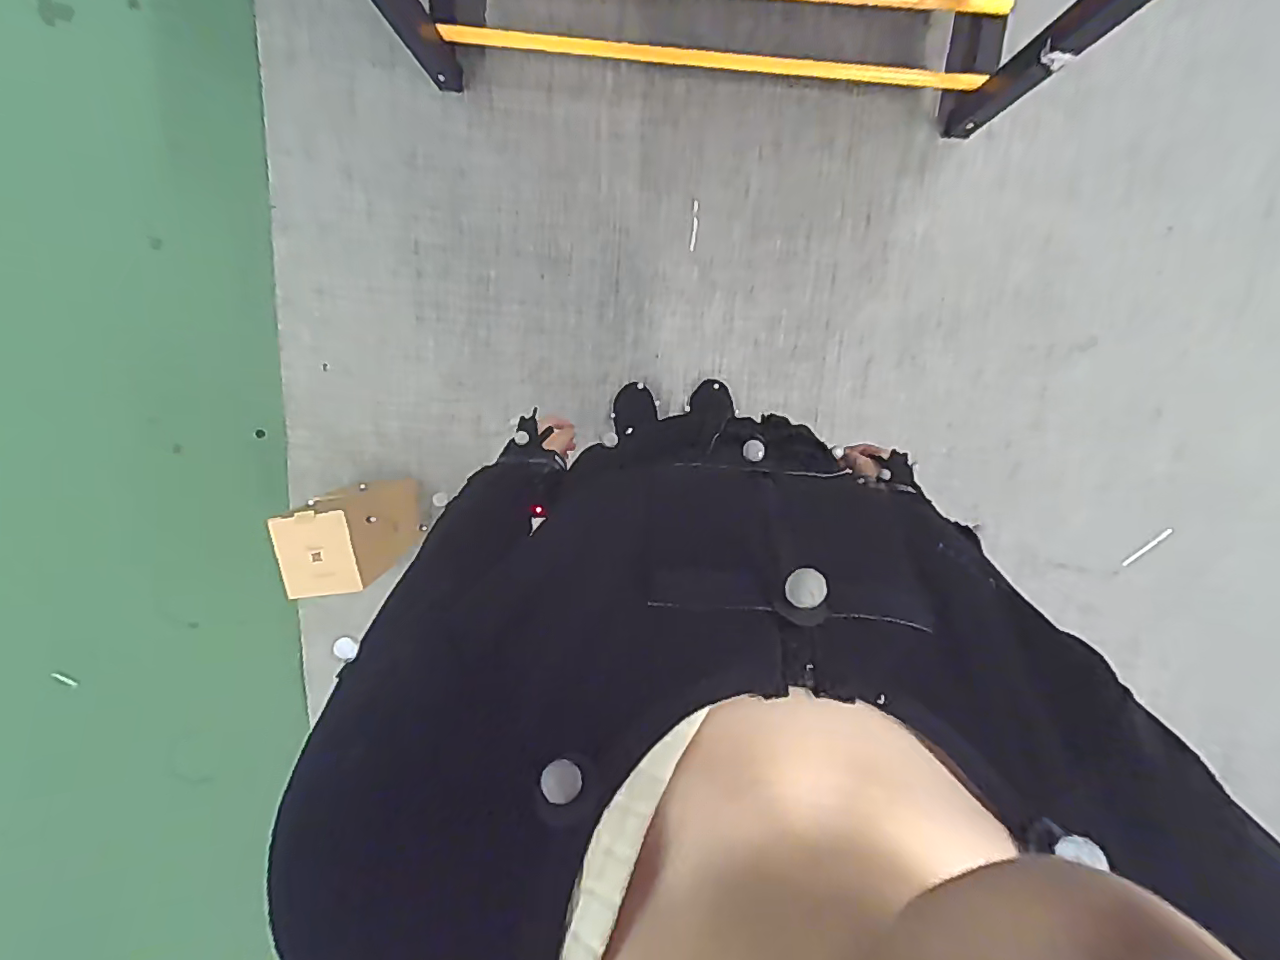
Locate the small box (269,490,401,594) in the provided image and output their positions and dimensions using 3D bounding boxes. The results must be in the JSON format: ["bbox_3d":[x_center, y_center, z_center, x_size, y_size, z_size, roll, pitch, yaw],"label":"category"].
[{"bbox_3d":[-0.647,0.124,1.167,0.168,0.176,0.179,-8,102,5],"label":"small box"}]

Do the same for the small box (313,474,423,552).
[{"bbox_3d":[-0.652,0.085,1.325,0.179,0.176,0.168,-5,101,3],"label":"small box"}]
